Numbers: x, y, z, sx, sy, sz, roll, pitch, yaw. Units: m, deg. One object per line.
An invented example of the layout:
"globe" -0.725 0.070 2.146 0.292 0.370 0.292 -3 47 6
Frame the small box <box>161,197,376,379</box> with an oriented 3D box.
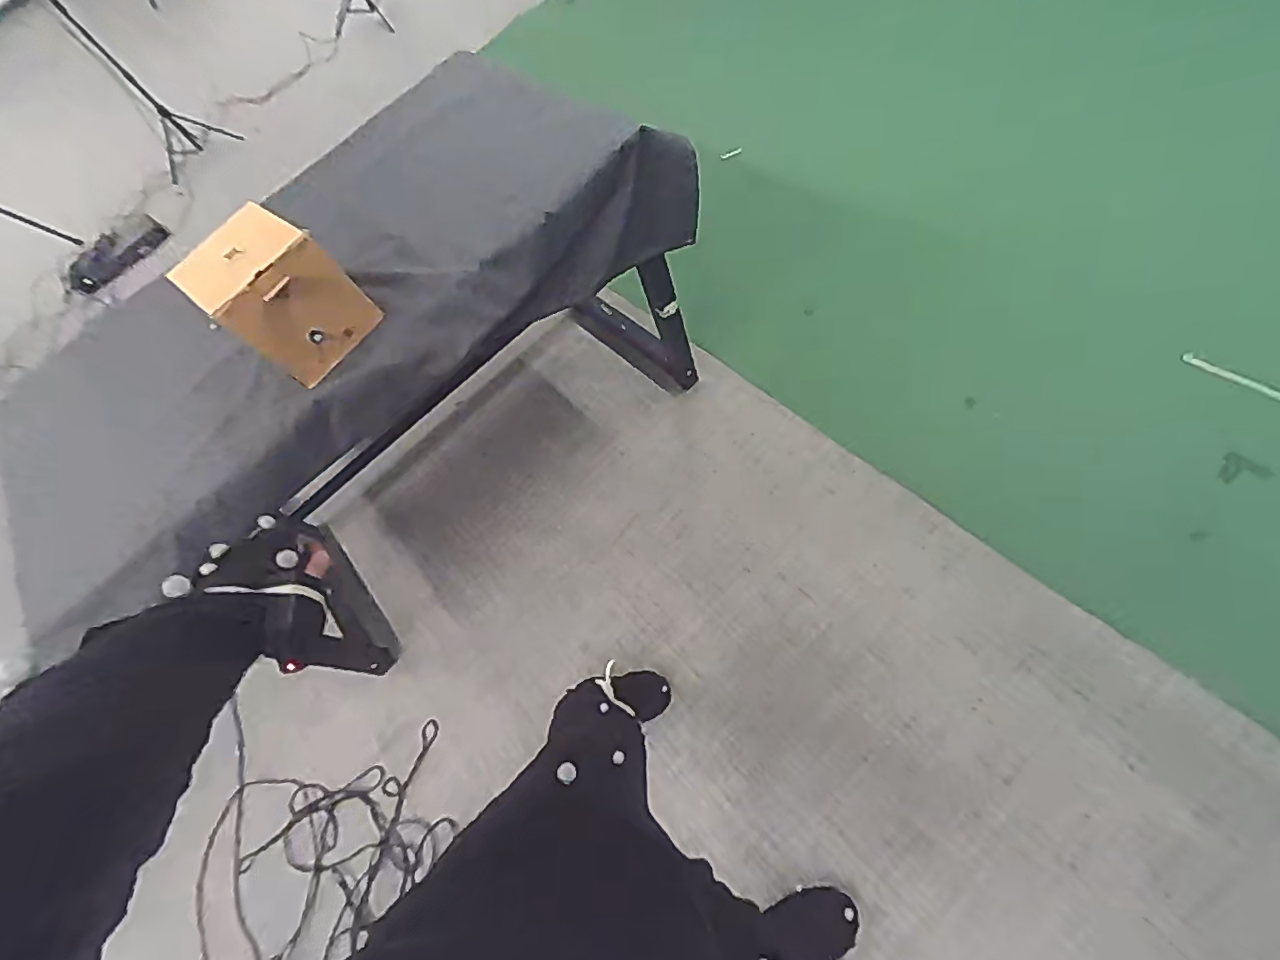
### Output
"small box" -0.548 -0.282 0.815 0.179 0.176 0.168 33 78 26
